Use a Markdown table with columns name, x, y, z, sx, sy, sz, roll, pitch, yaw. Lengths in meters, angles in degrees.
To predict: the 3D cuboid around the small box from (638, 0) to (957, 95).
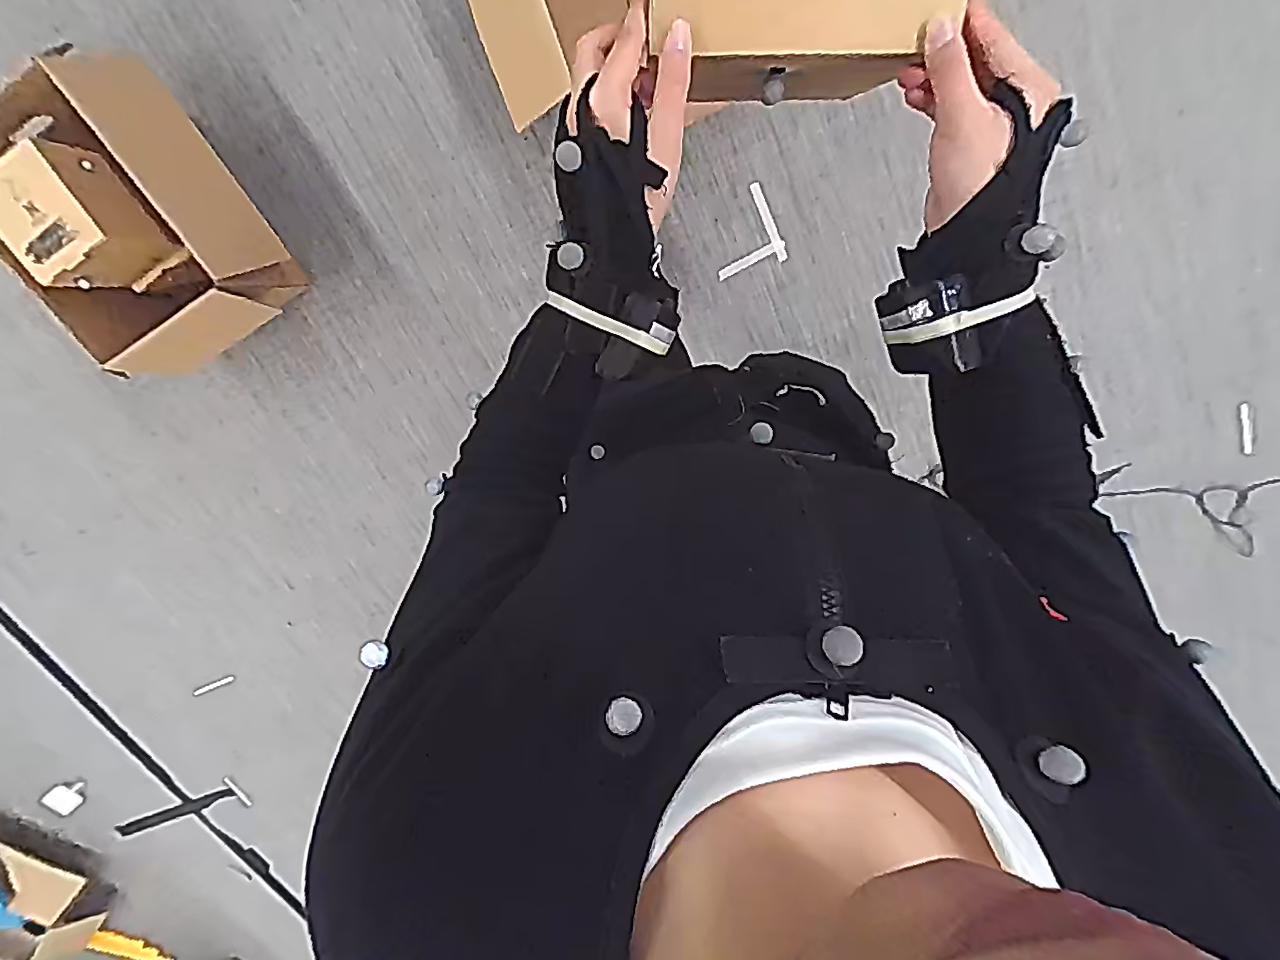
| name | x | y | z | sx | sy | sz | roll | pitch | yaw |
| --- | --- | --- | --- | --- | --- | --- | --- | --- | --- |
| small box | 0.088 | -0.357 | 0.340 | 0.179 | 0.176 | 0.168 | -1 | 117 | 0 |
